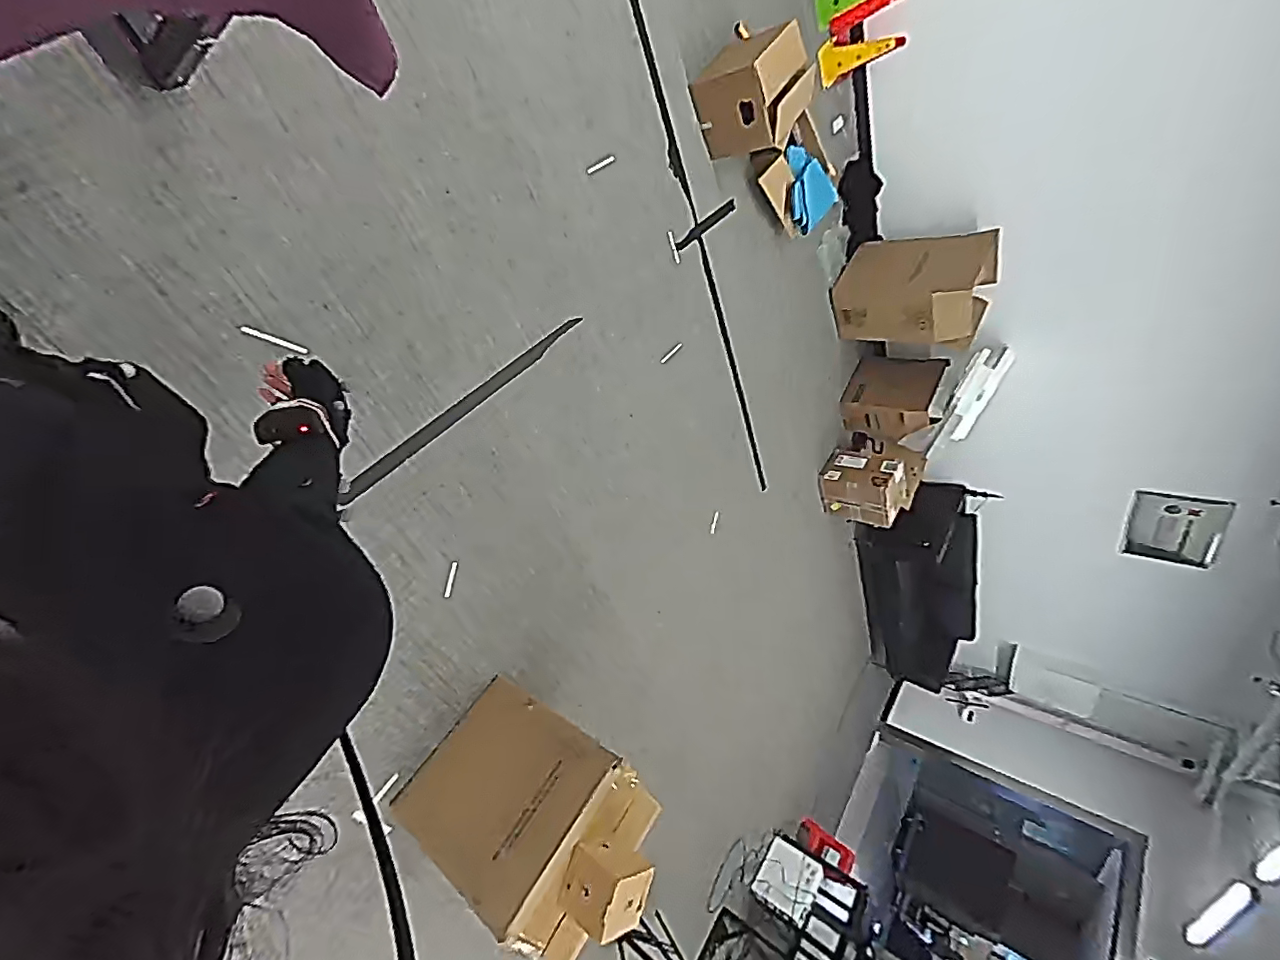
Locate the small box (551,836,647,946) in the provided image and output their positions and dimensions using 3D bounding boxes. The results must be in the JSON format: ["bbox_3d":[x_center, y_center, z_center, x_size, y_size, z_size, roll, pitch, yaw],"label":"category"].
[{"bbox_3d":[-0.117,1.137,1.511,0.179,0.176,0.168,29,78,-48],"label":"small box"}]
